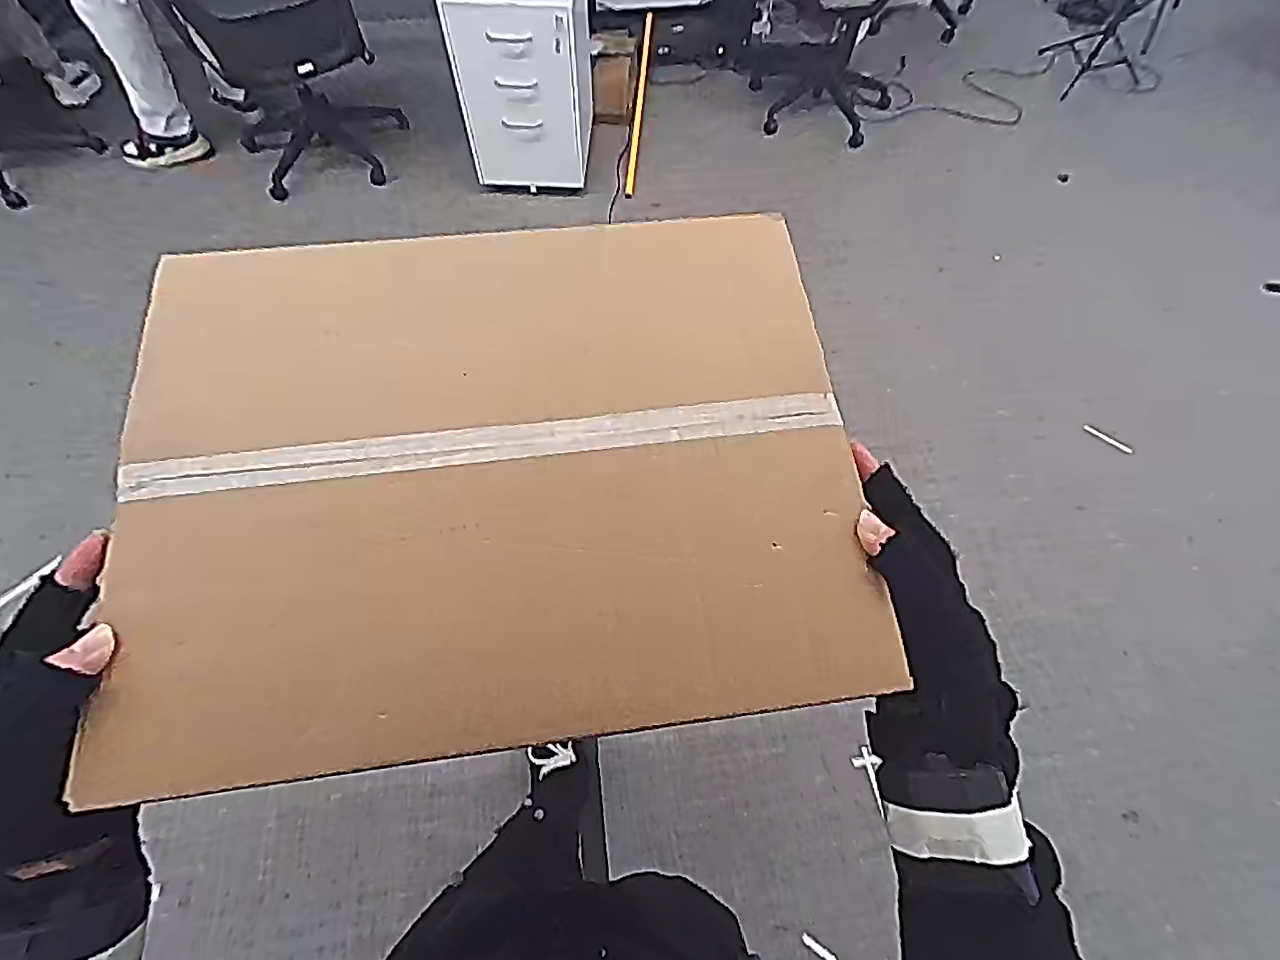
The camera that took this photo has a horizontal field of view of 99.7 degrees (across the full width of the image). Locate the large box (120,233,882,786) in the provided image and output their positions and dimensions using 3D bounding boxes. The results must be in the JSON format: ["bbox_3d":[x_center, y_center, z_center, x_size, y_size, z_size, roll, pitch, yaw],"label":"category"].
[{"bbox_3d":[-0.088,0.034,0.469,0.408,0.320,0.320,-6,72,-5],"label":"large box"}]
